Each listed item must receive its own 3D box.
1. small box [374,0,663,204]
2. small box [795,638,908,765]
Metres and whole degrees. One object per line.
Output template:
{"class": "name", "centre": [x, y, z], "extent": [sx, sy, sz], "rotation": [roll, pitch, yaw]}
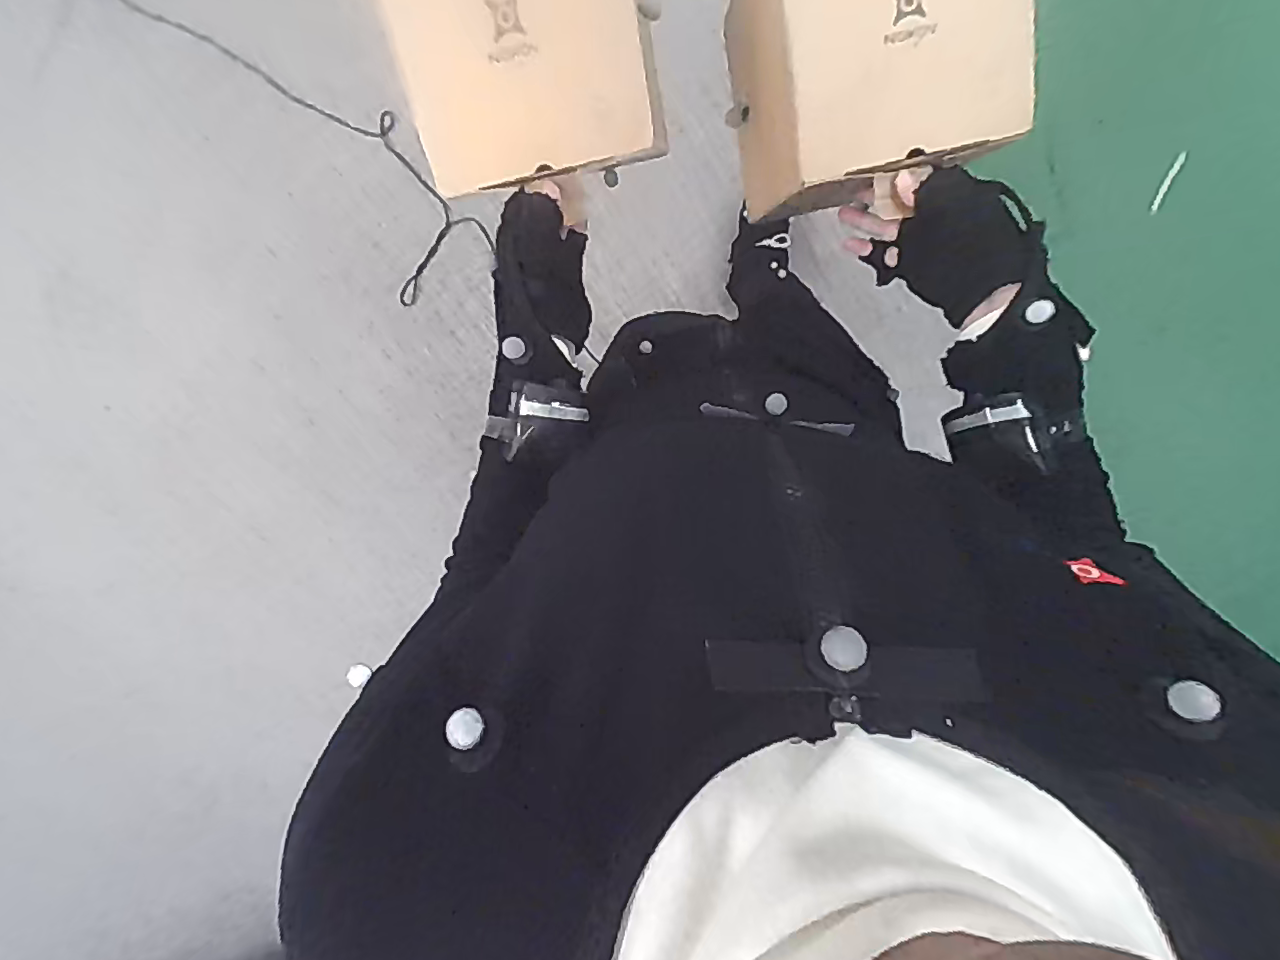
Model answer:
{"class": "small box", "centre": [-0.079, -0.336, 0.426], "extent": [0.168, 0.176, 0.179], "rotation": [-8, 118, 11]}
{"class": "small box", "centre": [0.468, 0.497, 1.231], "extent": [0.179, 0.176, 0.168], "rotation": [-32, 100, 16]}
